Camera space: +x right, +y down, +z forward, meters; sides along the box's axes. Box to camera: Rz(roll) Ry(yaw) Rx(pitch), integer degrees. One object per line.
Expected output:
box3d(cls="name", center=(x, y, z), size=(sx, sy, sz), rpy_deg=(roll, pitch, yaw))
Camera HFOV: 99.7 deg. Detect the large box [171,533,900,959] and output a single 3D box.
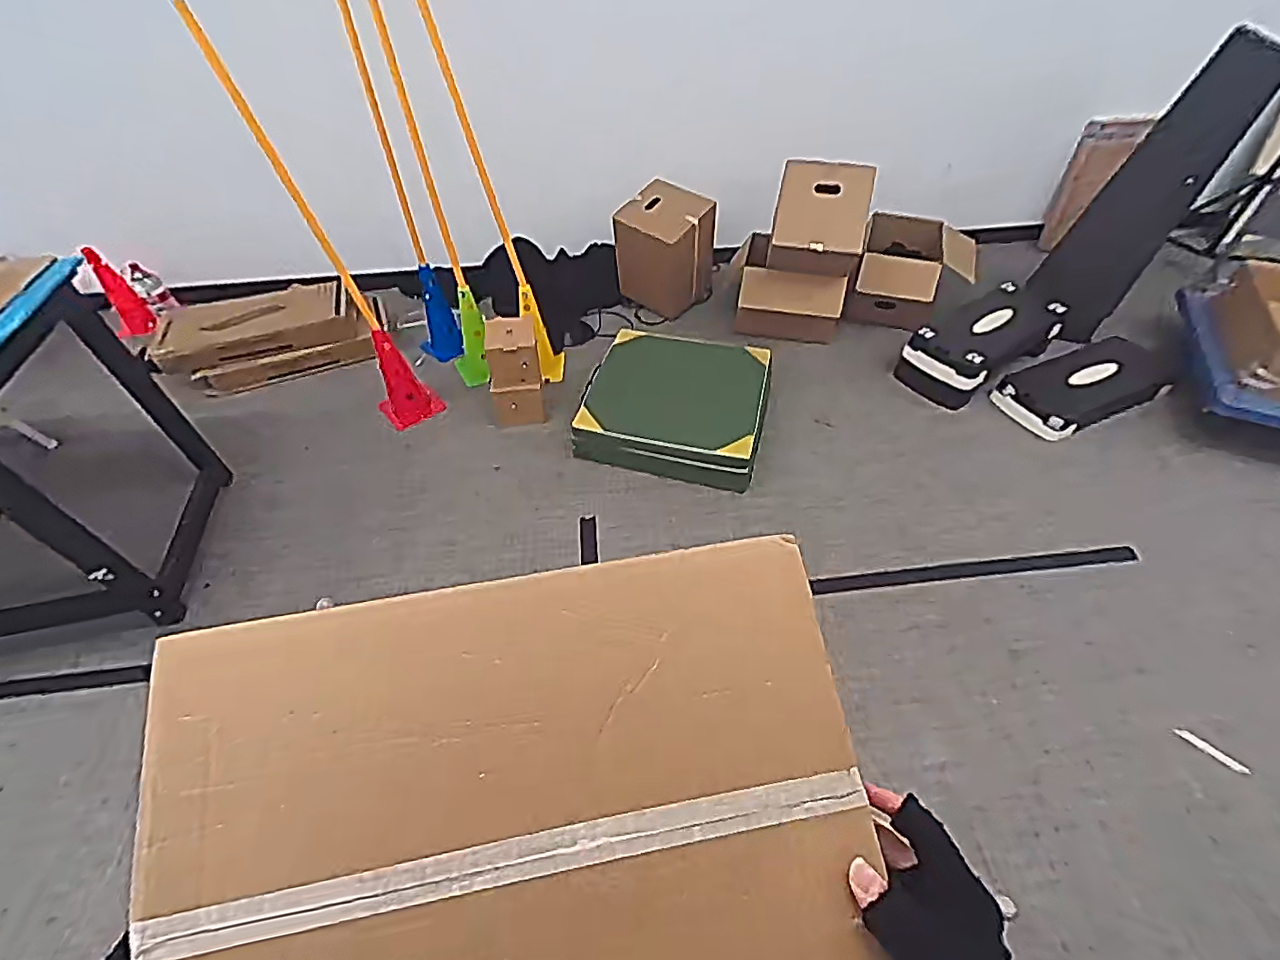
box3d(cls="large box", center=(-0.071, 0.258, 0.461), size=(0.408, 0.320, 0.320), rpy_deg=(-9, 74, -5))
